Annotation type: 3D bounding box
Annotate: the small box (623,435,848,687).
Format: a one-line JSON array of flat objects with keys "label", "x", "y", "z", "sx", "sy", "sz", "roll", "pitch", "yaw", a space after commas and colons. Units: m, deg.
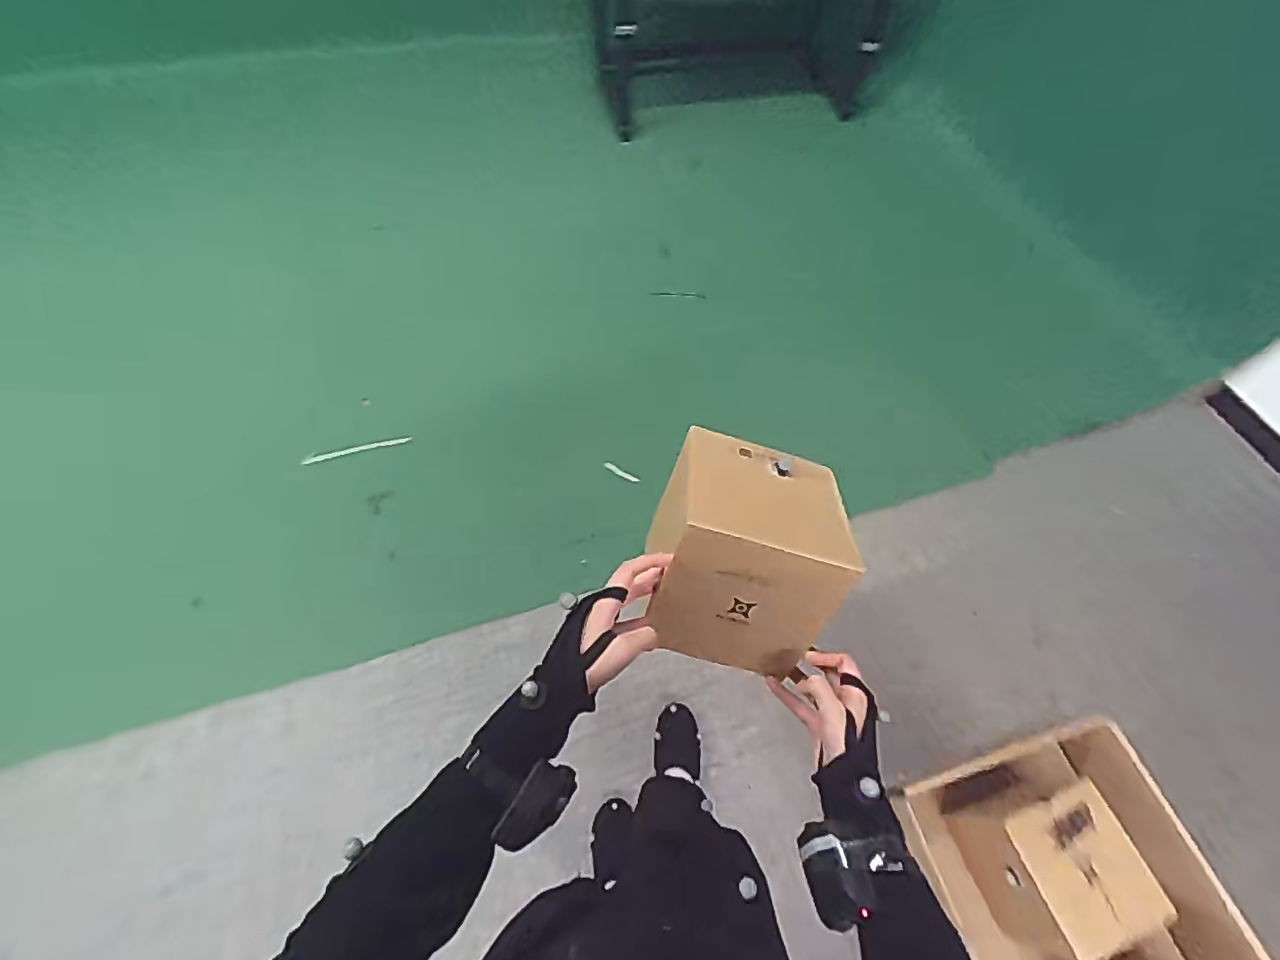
[{"label": "small box", "x": 0.090, "y": 0.082, "z": 0.573, "sx": 0.168, "sy": 0.179, "sz": 0.176, "roll": 15, "pitch": 36, "yaw": -5}]
